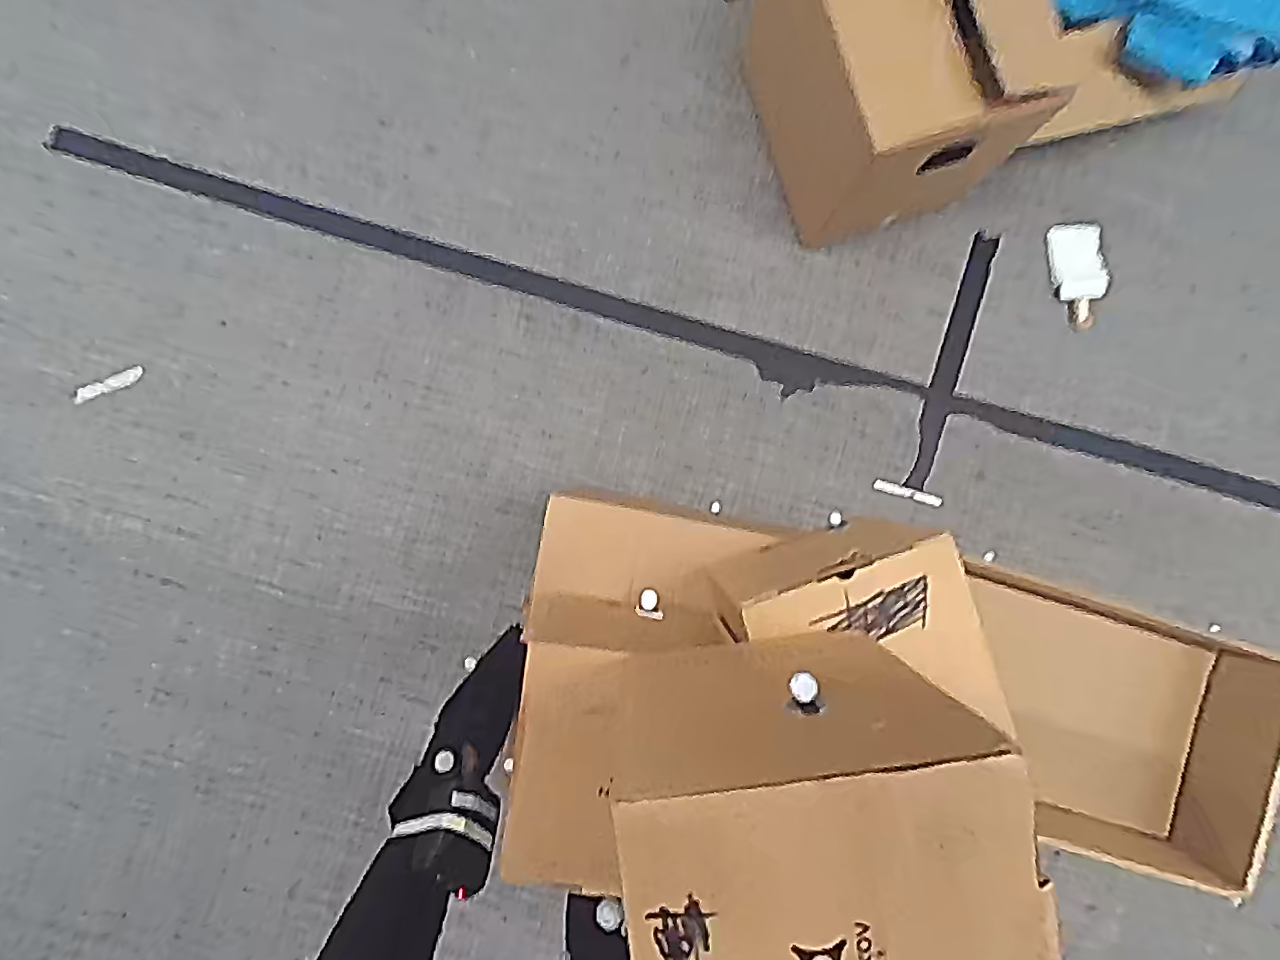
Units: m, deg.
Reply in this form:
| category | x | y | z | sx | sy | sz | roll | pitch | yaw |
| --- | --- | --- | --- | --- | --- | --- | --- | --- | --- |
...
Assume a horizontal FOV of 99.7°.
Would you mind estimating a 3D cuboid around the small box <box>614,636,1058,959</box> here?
| category | x | y | z | sx | sy | sz | roll | pitch | yaw |
| --- | --- | --- | --- | --- | --- | --- | --- | --- | --- |
| small box | 0.081 | 0.196 | 0.295 | 0.179 | 0.176 | 0.168 | -7 | 91 | -1 |

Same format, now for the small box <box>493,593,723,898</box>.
| category | x | y | z | sx | sy | sz | roll | pitch | yaw |
| --- | --- | --- | --- | --- | --- | --- | --- | --- | --- |
| small box | -0.016 | 0.206 | 0.457 | 0.168 | 0.176 | 0.179 | 6 | 89 | -4 |

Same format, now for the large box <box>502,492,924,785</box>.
| category | x | y | z | sx | sy | sz | roll | pitch | yaw |
| --- | --- | --- | --- | --- | --- | --- | --- | --- | --- |
| large box | 0.069 | 0.196 | 0.702 | 0.408 | 0.320 | 0.320 | 10 | 91 | -3 |
